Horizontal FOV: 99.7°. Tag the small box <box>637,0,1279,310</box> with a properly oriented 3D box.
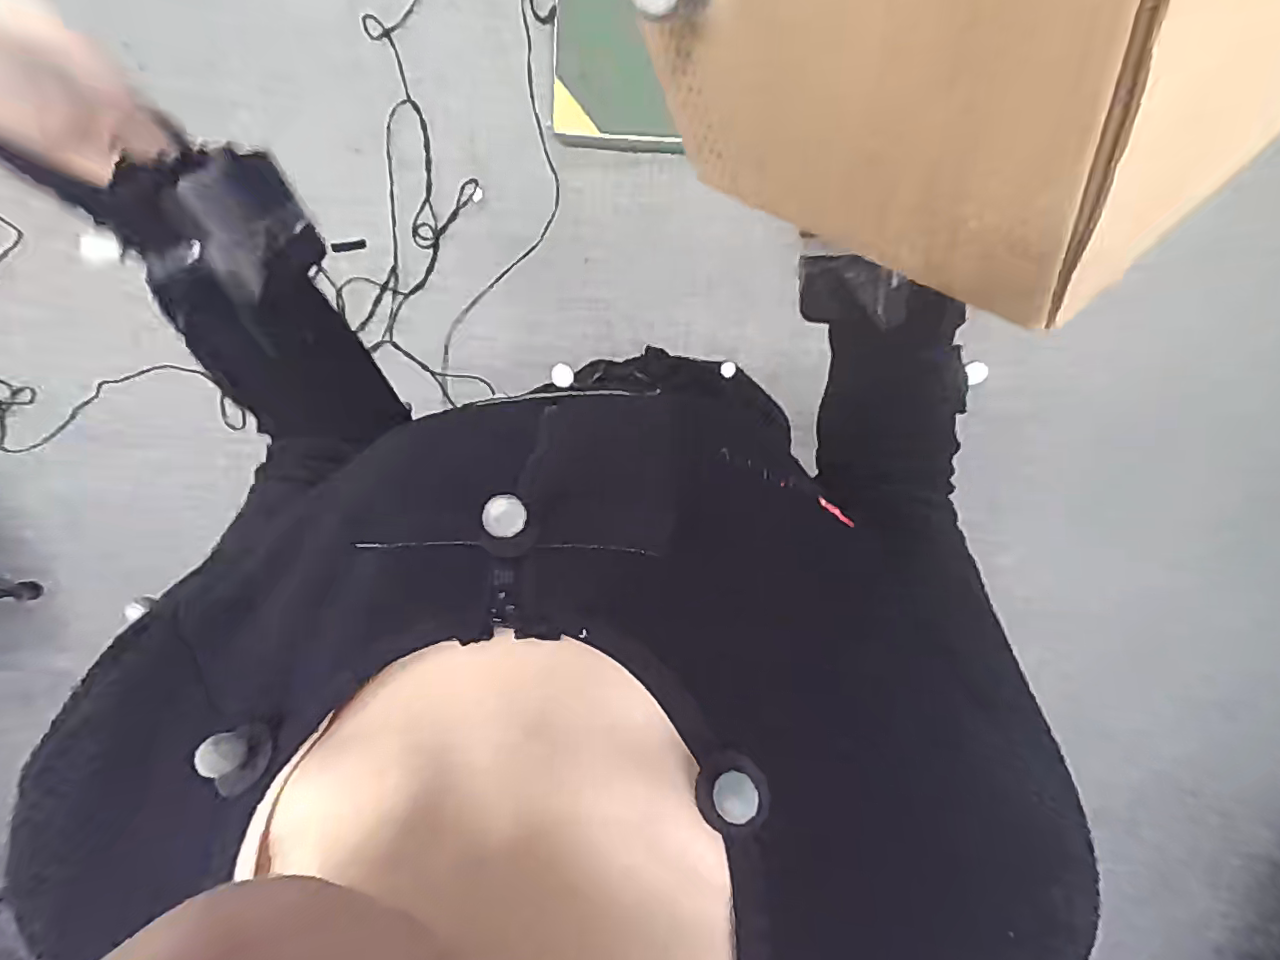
[{"bbox_3d":[0.096,-0.186,0.135,0.168,0.179,0.176,-44,54,0],"label":"small box"}]
